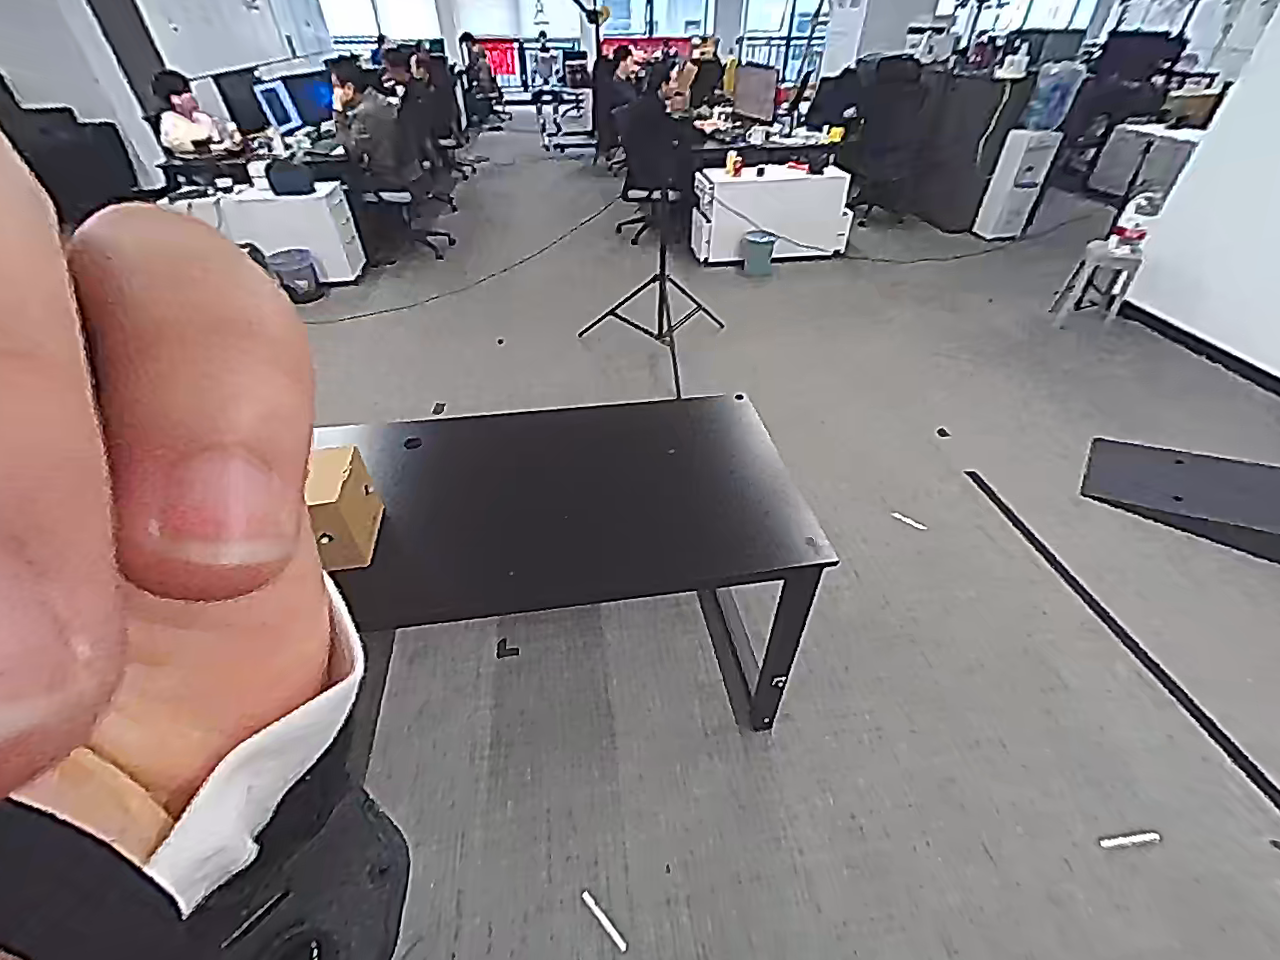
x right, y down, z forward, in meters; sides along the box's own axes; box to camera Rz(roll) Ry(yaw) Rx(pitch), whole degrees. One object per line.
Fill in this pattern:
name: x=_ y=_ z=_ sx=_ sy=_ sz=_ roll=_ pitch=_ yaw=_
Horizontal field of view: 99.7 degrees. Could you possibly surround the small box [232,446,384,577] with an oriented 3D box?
small box: x=-0.603 y=0.059 z=1.014 sx=0.179 sy=0.176 sz=0.168 roll=-8 pitch=40 yaw=-7
